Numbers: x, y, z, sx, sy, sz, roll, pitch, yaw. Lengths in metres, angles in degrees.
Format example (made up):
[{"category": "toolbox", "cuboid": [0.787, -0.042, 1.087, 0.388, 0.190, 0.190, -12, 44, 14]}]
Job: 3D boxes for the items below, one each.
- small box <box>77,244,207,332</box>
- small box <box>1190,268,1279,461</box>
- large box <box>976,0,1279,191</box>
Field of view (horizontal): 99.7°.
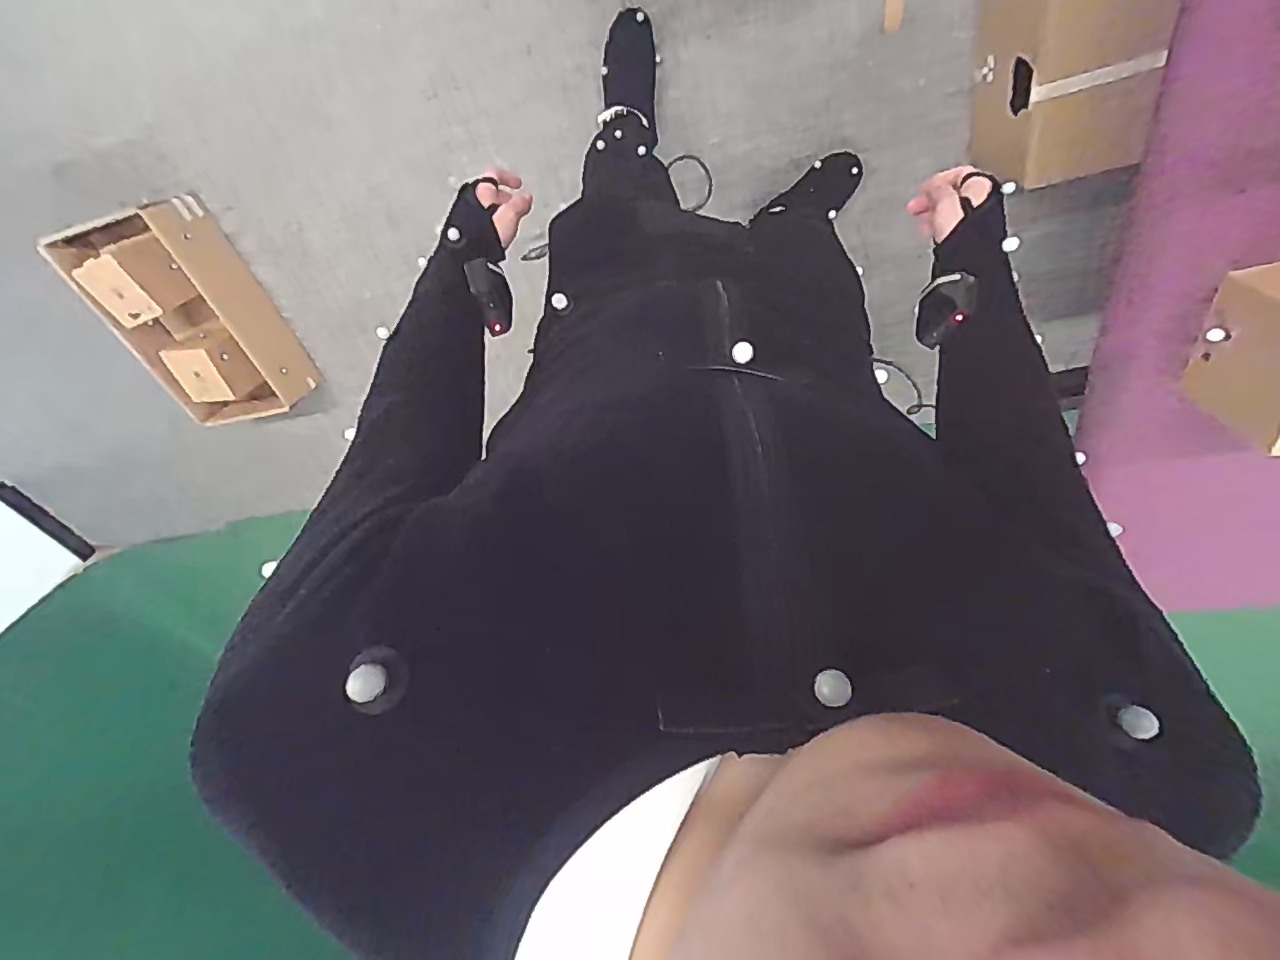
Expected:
[{"category": "small box", "cuboid": [-1.419, -0.558, 1.553, 0.168, 0.176, 0.179, -11, 127, 18]}, {"category": "small box", "cuboid": [0.805, -0.144, 0.613, 0.179, 0.176, 0.168, -7, 127, 15]}, {"category": "large box", "cuboid": [0.870, -0.763, 0.953, 0.408, 0.320, 0.320, -9, 128, 16]}]
